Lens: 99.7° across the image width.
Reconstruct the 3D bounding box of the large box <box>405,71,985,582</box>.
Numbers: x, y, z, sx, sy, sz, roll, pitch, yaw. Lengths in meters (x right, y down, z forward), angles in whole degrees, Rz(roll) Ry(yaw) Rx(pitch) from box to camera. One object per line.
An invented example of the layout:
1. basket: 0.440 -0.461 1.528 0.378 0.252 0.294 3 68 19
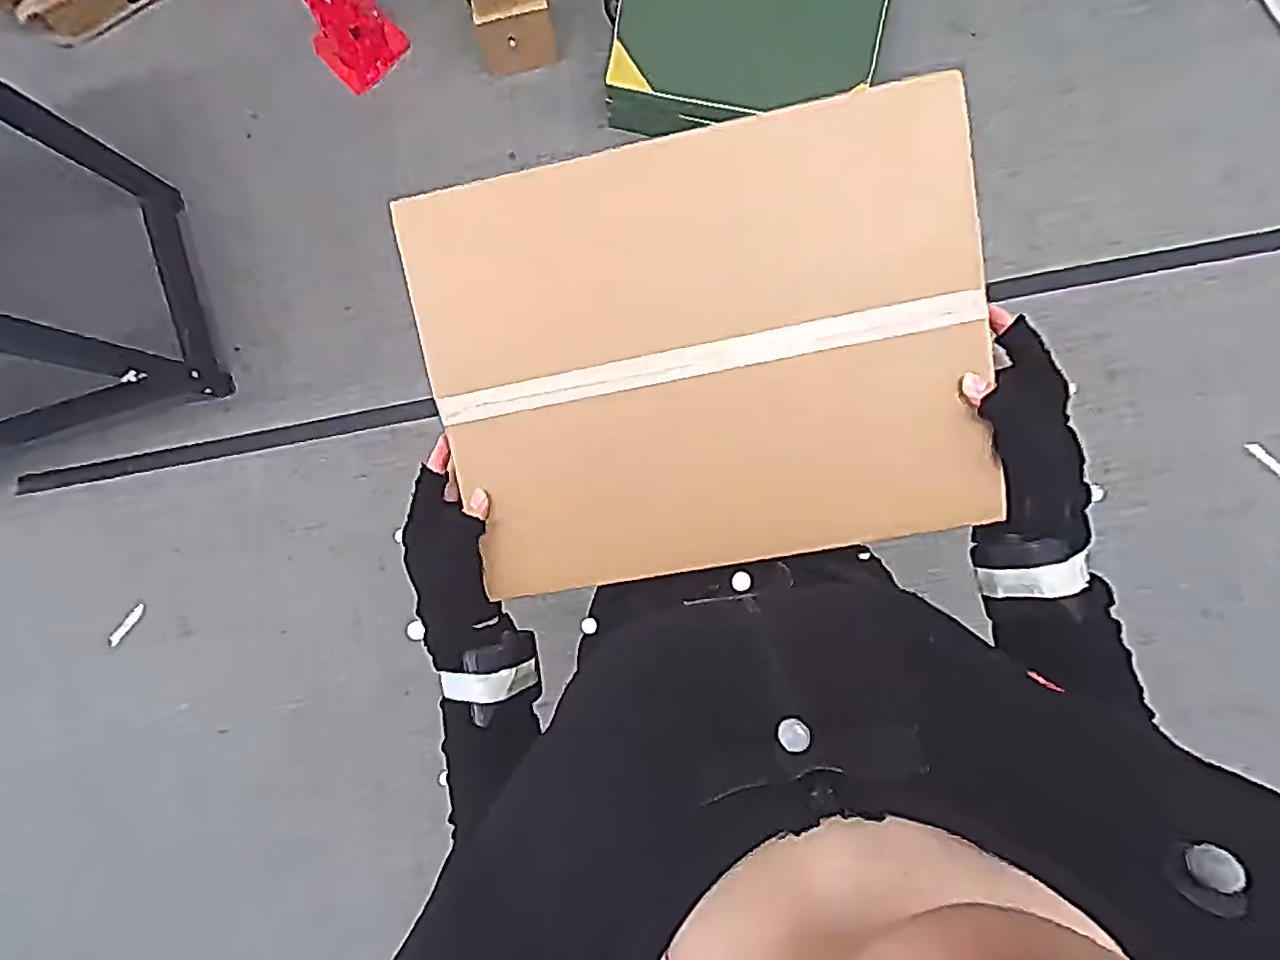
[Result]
1. large box: 0.051 -0.120 0.556 0.408 0.320 0.320 -10 99 5
